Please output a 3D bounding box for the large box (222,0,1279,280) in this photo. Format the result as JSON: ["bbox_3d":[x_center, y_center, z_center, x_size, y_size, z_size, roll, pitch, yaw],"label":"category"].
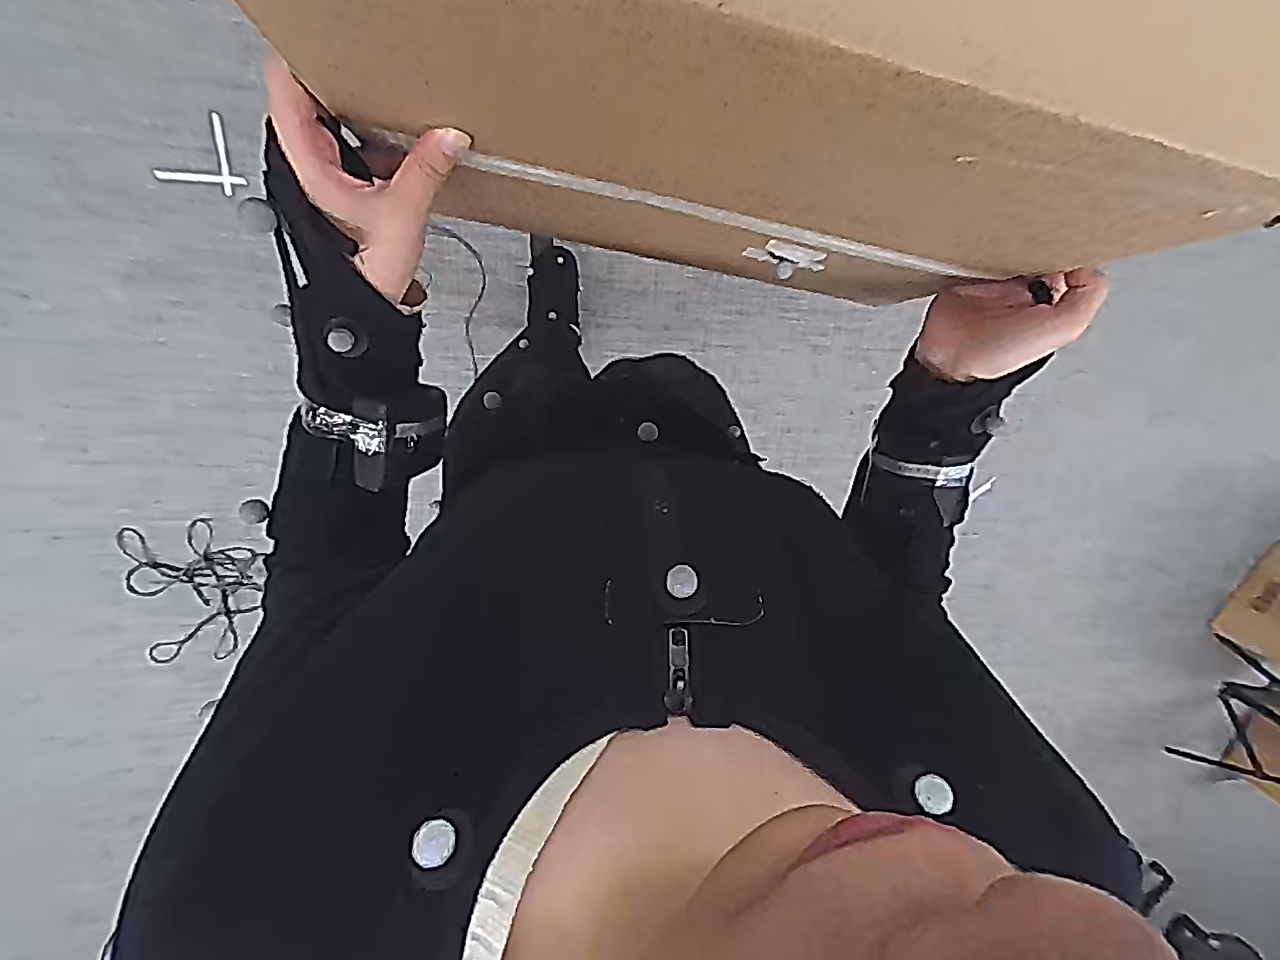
[{"bbox_3d":[0.053,-0.313,0.271,0.408,0.320,0.320,6,102,-10],"label":"large box"}]
